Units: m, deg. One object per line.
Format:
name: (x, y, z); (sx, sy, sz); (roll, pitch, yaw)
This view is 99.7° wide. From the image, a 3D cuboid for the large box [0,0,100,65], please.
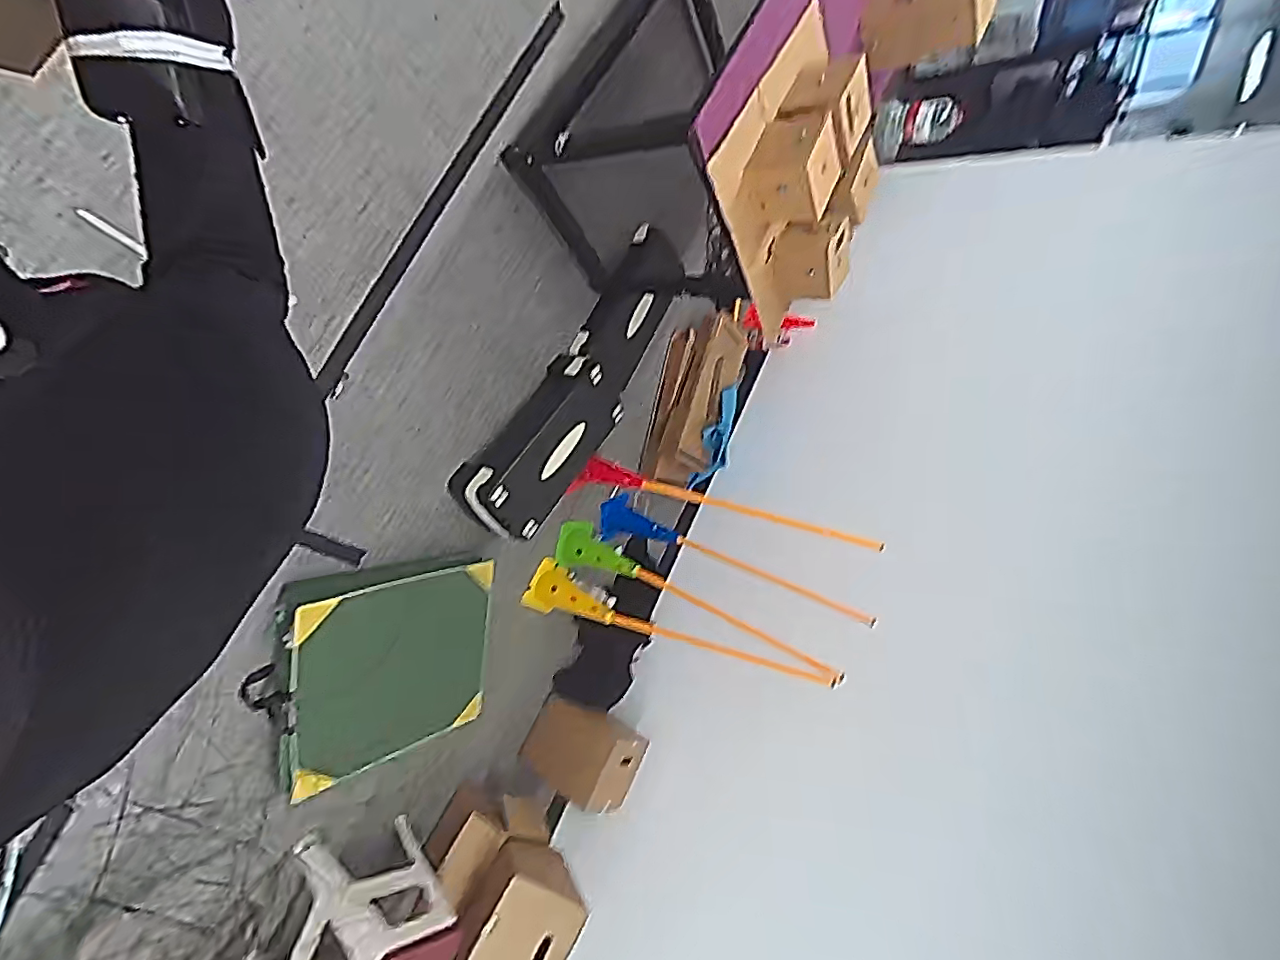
large box: (-0.523, -0.433, 0.200); (0.408, 0.320, 0.320); (-17, 119, -51)
